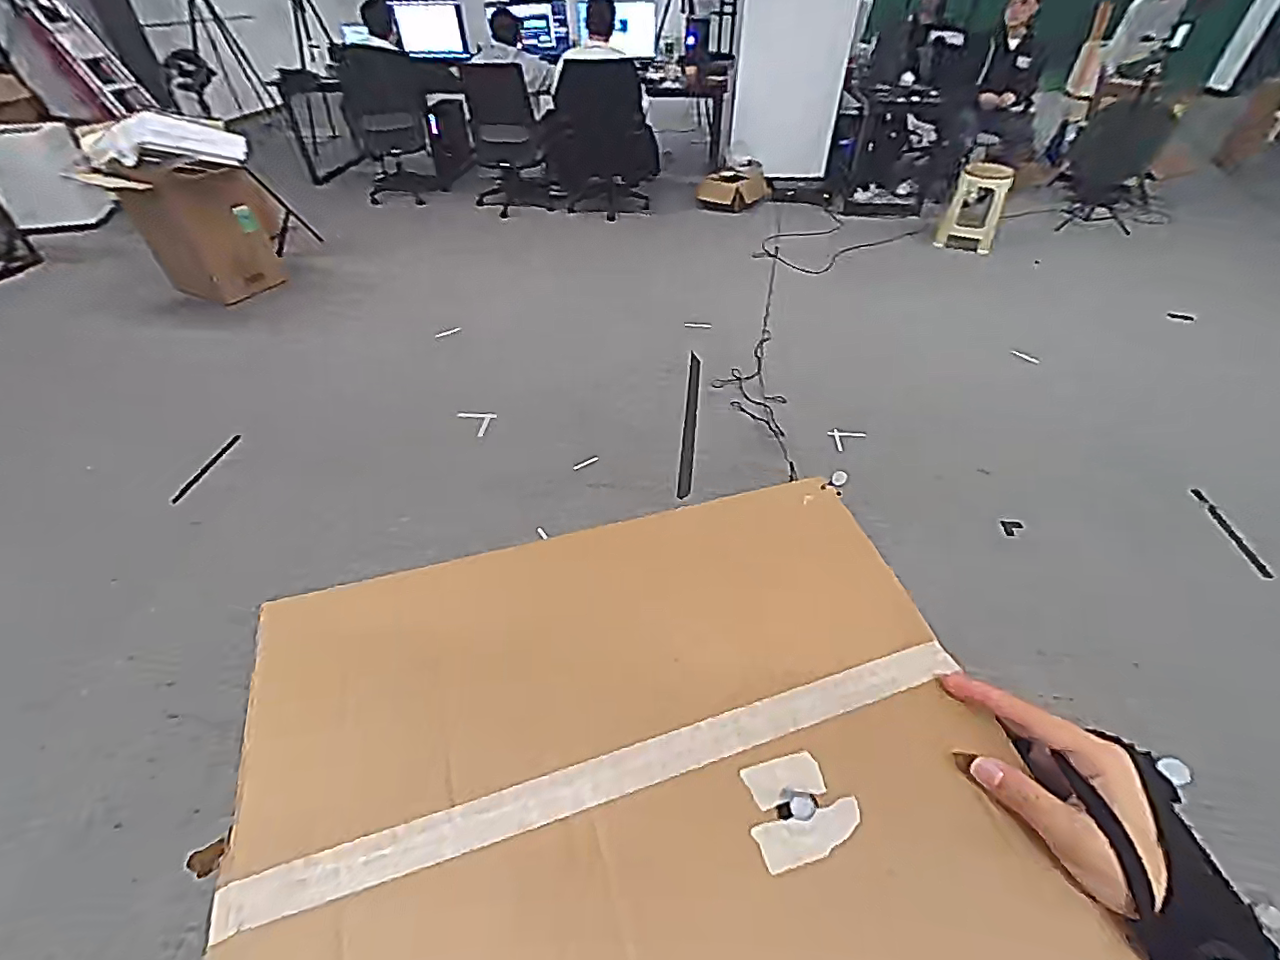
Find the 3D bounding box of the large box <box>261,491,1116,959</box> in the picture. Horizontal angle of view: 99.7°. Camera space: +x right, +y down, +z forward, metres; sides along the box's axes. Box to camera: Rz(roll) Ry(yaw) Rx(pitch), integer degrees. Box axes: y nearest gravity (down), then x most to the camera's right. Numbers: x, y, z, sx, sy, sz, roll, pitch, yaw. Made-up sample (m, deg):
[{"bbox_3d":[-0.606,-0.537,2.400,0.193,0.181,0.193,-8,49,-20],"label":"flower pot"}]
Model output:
[{"bbox_3d":[-0.004,0.256,0.422,0.408,0.320,0.320,-12,54,-15],"label":"large box"}]
